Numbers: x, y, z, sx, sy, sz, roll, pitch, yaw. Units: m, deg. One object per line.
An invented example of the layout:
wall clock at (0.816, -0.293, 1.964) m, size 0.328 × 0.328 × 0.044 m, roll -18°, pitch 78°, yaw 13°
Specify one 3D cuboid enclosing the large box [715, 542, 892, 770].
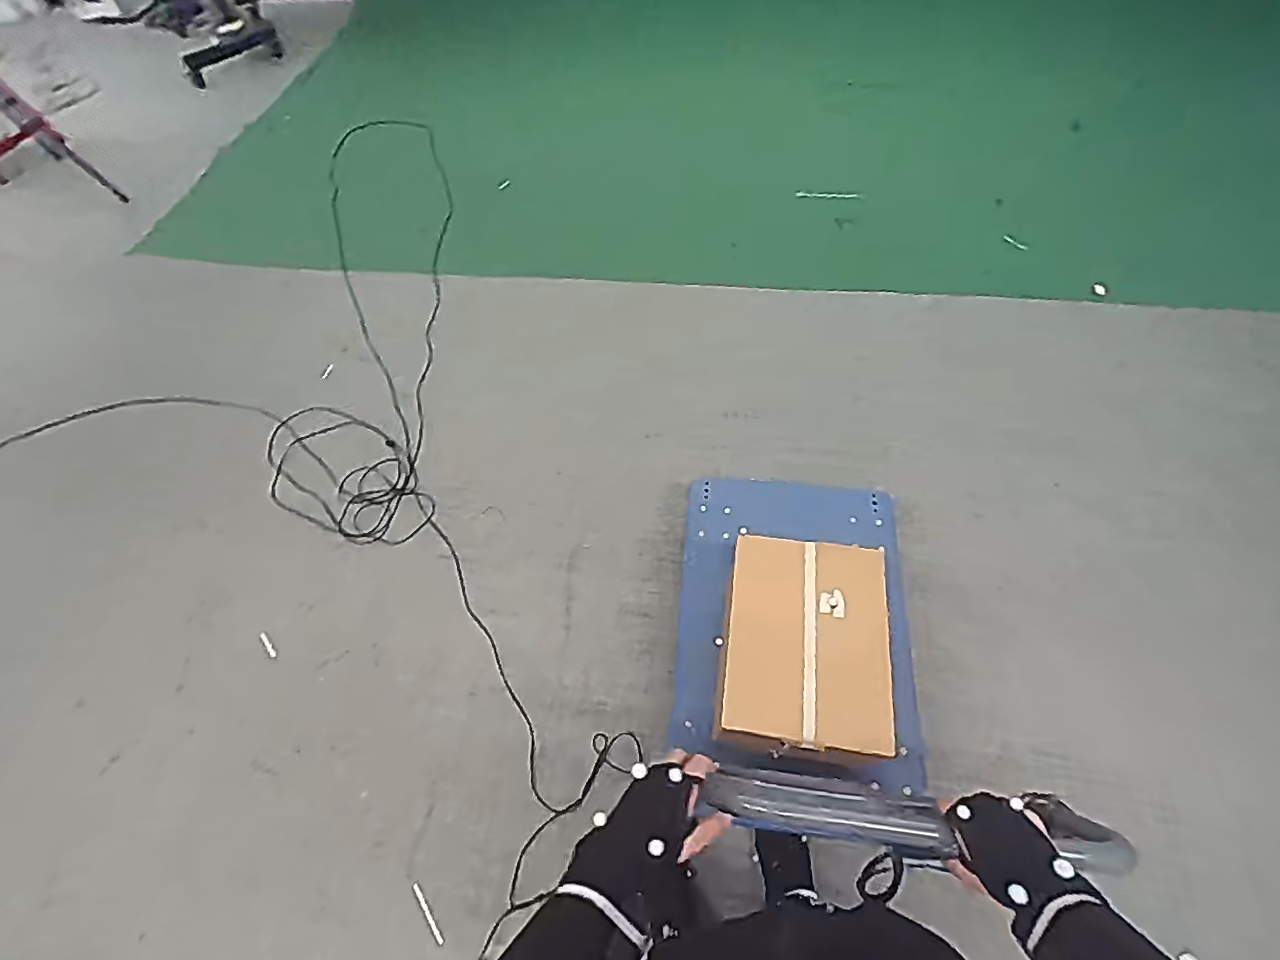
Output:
large box at (0.339, 0.399, 1.212) m, size 0.320 × 0.320 × 0.408 m, roll 6°, pitch 59°, yaw 7°
